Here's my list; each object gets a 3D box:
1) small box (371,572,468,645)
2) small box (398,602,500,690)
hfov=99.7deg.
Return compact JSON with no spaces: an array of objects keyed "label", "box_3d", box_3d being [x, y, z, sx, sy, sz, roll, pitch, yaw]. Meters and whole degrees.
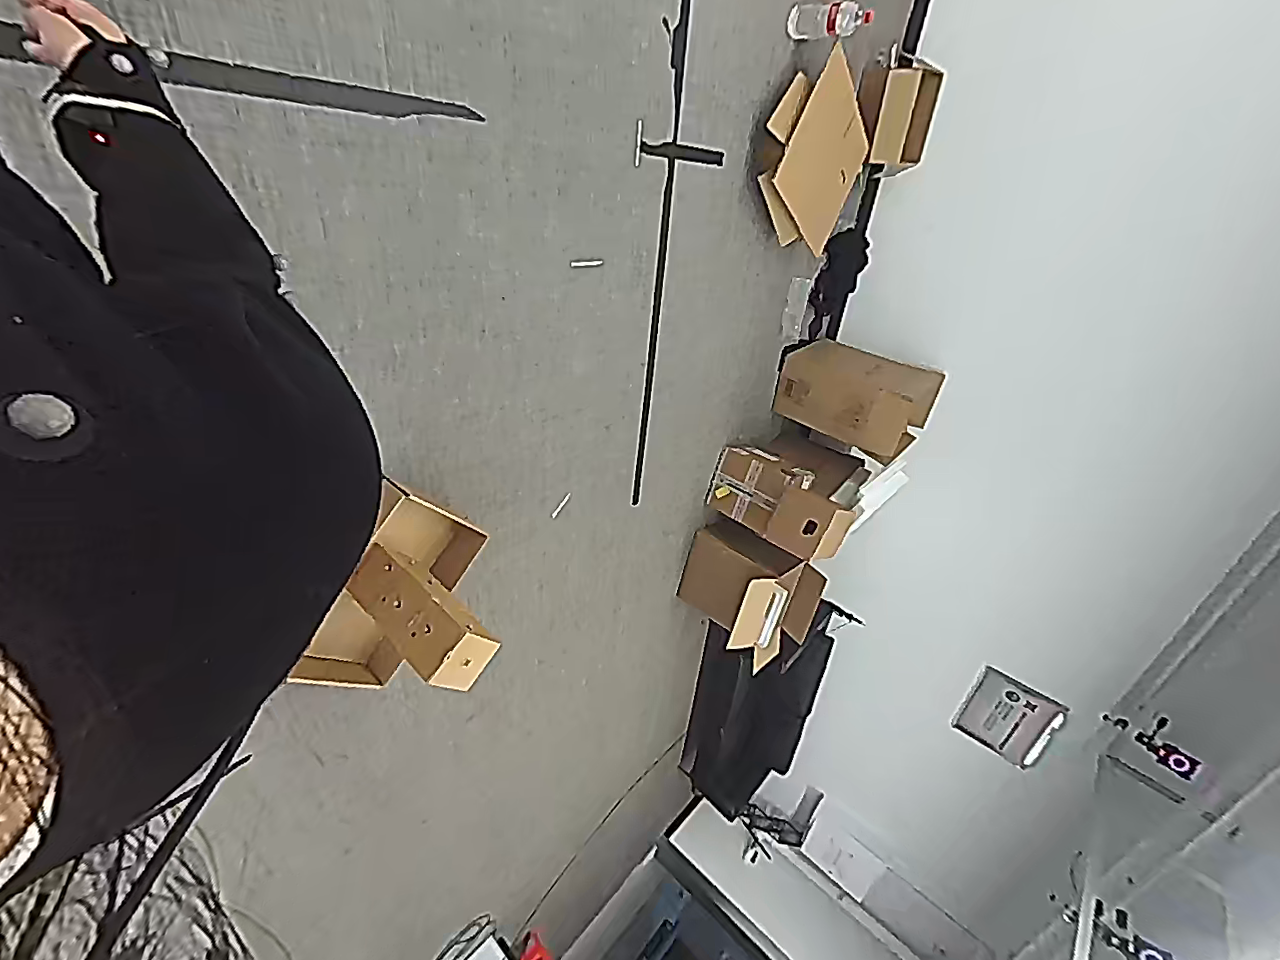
[{"label":"small box","box_3d":[-0.668,0.398,1.630,0.168,0.176,0.179,-54,147,-11]},{"label":"small box","box_3d":[-0.547,0.474,1.550,0.168,0.176,0.179,-55,148,-10]}]
